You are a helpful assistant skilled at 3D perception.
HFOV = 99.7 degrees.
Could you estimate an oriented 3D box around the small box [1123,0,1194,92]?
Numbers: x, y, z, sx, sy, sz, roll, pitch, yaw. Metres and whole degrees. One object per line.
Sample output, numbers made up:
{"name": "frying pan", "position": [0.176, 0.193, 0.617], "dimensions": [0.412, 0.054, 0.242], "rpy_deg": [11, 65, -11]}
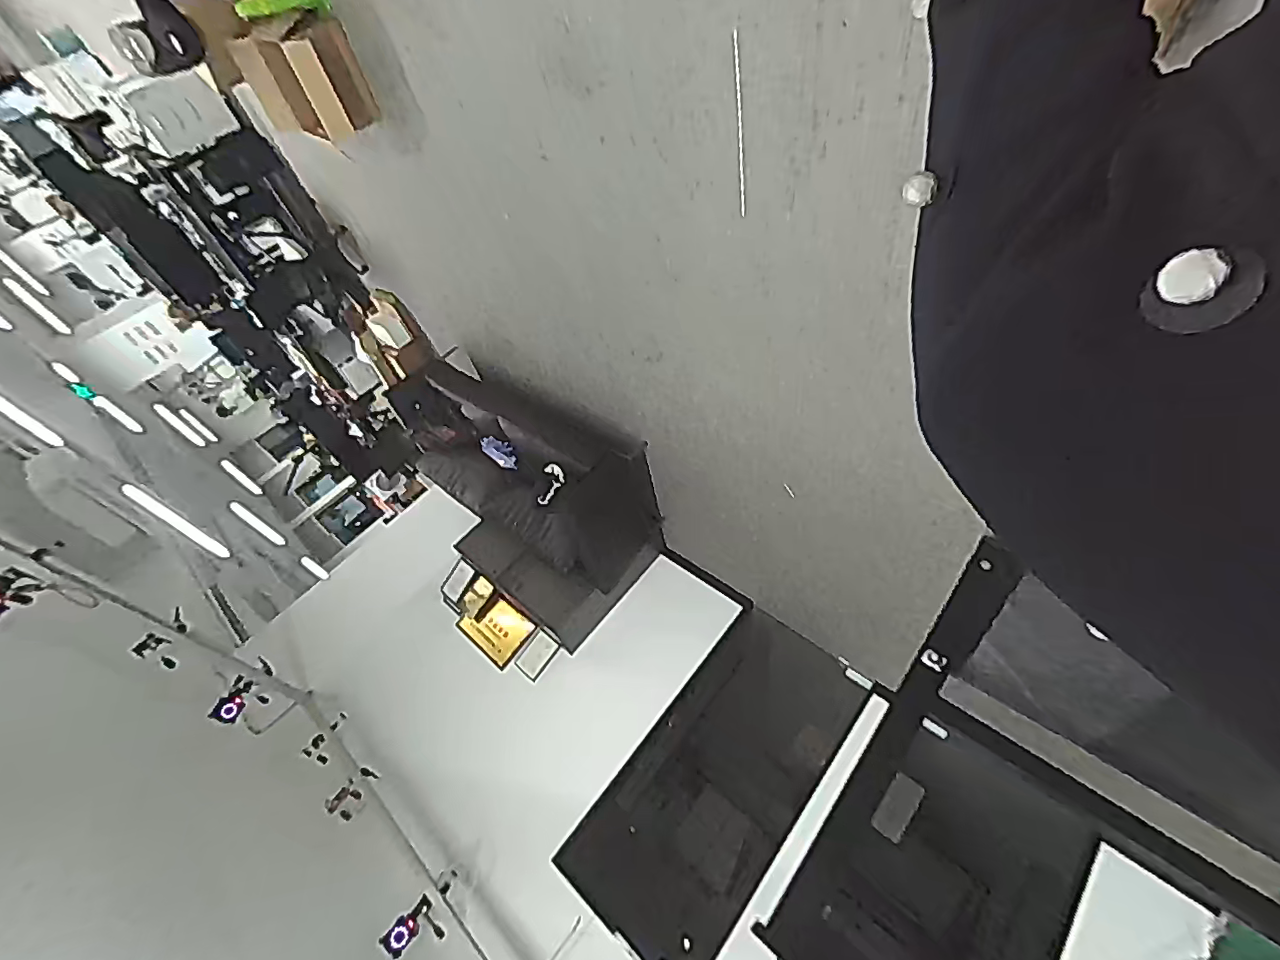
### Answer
{"name": "small box", "position": [0.796, -0.782, 0.896], "dimensions": [0.179, 0.176, 0.168], "rpy_deg": [32, 155, 27]}
